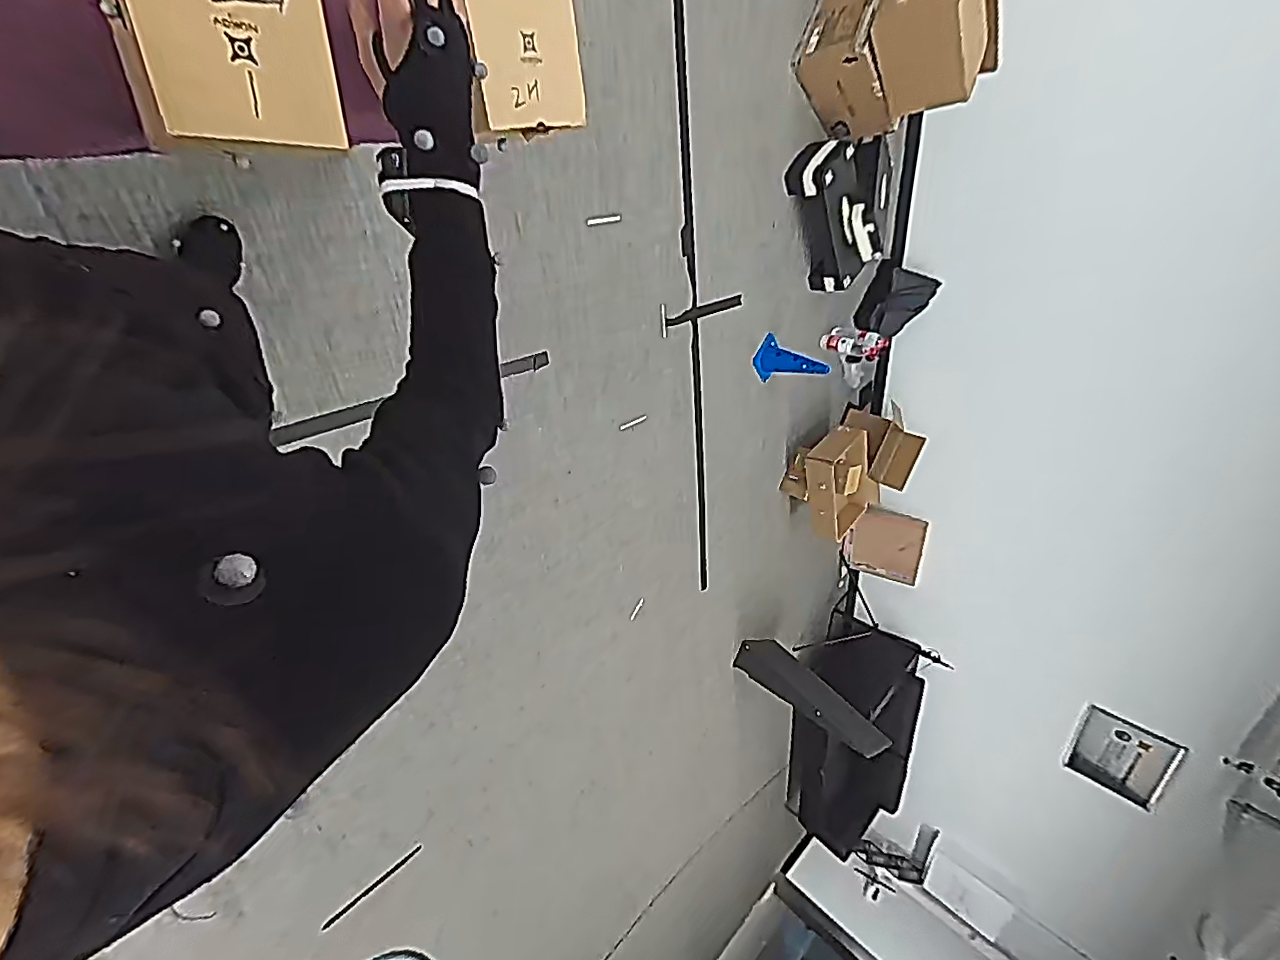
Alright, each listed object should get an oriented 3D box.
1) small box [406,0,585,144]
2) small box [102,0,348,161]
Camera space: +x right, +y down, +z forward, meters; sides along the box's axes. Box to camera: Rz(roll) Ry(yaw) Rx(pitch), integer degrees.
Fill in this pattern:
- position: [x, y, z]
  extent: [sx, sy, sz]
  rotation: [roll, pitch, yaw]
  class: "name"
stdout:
- position: [-0.203, -0.590, 0.763]
  extent: [0.168, 0.176, 0.179]
  rotation: [-28, 126, -33]
  class: "small box"
- position: [-0.445, -0.453, 0.578]
  extent: [0.168, 0.176, 0.179]
  rotation: [-22, 124, -38]
  class: "small box"
